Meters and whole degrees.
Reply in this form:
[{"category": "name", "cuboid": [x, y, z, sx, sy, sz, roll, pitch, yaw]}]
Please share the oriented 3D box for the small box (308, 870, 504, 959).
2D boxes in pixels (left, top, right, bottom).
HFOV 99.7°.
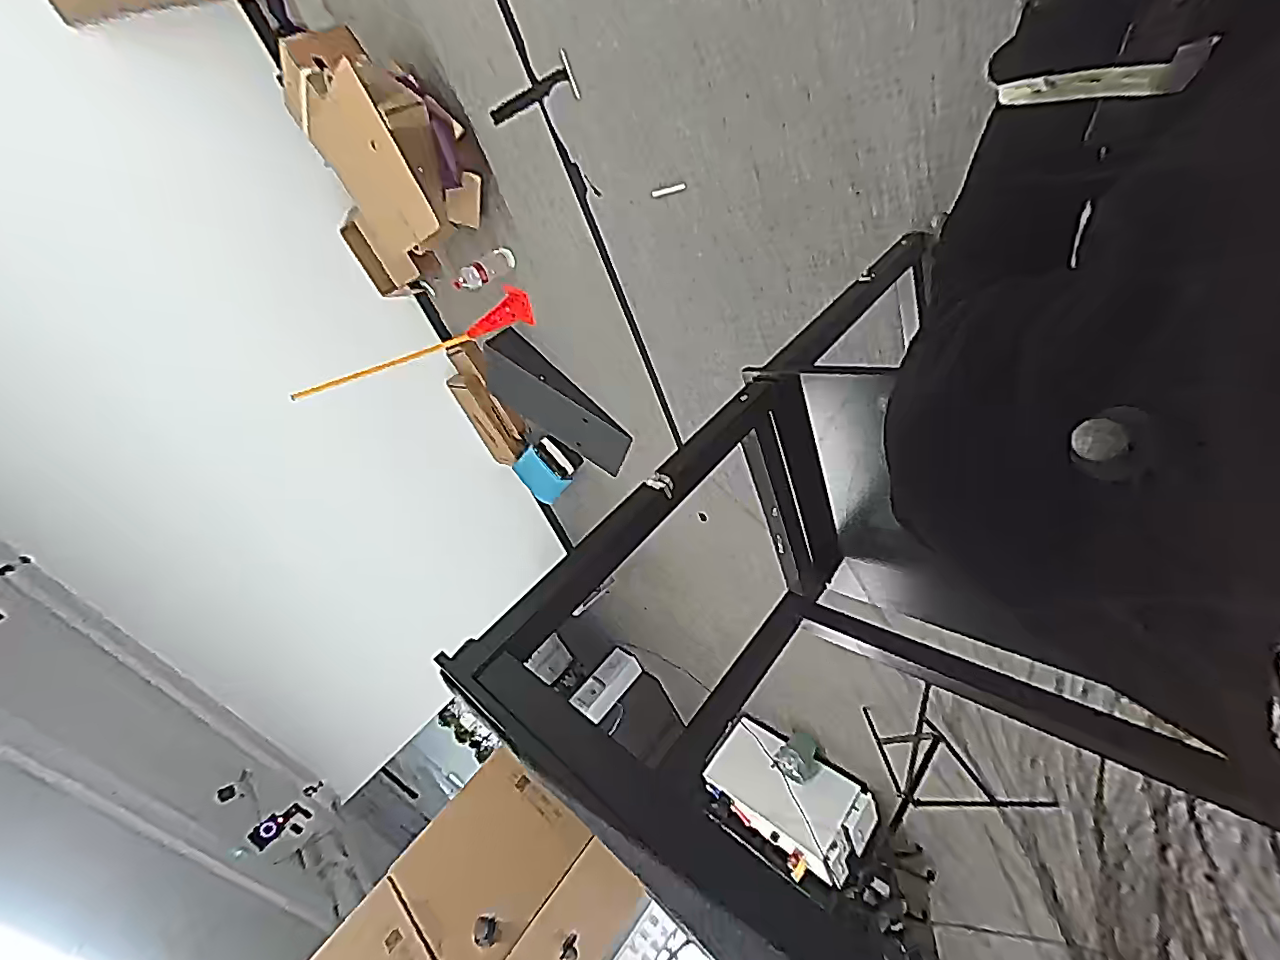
[{"category": "small box", "cuboid": [-0.225, 0.531, 0.521, 0.168, 0.176, 0.179, 17, 141, 43]}]
